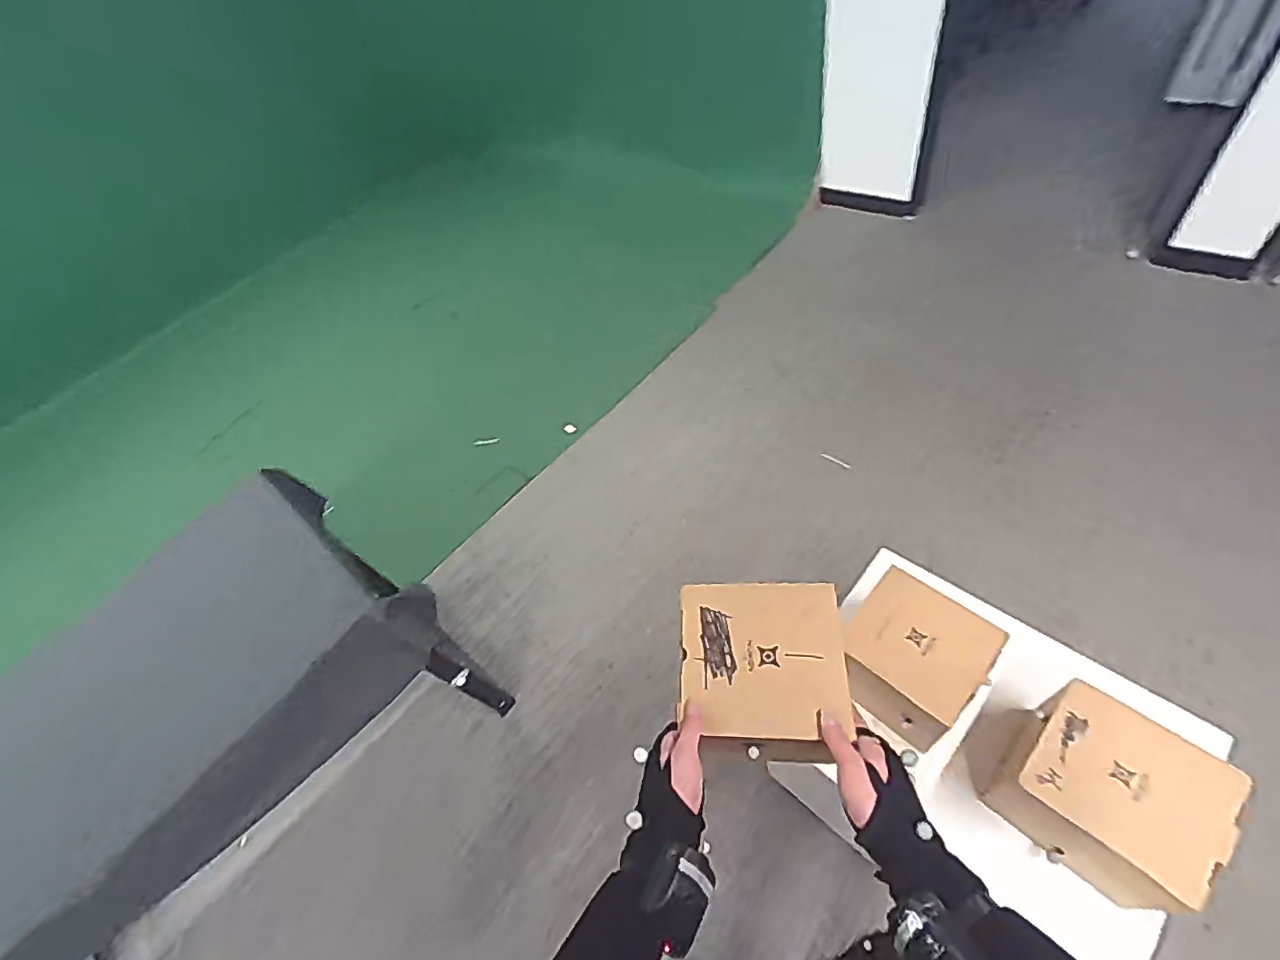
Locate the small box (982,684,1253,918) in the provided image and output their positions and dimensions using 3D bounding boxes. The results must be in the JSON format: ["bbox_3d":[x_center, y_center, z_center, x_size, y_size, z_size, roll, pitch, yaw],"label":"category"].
[{"bbox_3d":[0.577,0.395,0.679,0.179,0.176,0.168,35,68,32],"label":"small box"}]

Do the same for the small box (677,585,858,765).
[{"bbox_3d":[0.140,0.233,0.637,0.179,0.176,0.168,-2,56,8],"label":"small box"}]

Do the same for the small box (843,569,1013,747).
[{"bbox_3d":[0.406,0.273,0.814,0.179,0.176,0.168,34,67,32],"label":"small box"}]
